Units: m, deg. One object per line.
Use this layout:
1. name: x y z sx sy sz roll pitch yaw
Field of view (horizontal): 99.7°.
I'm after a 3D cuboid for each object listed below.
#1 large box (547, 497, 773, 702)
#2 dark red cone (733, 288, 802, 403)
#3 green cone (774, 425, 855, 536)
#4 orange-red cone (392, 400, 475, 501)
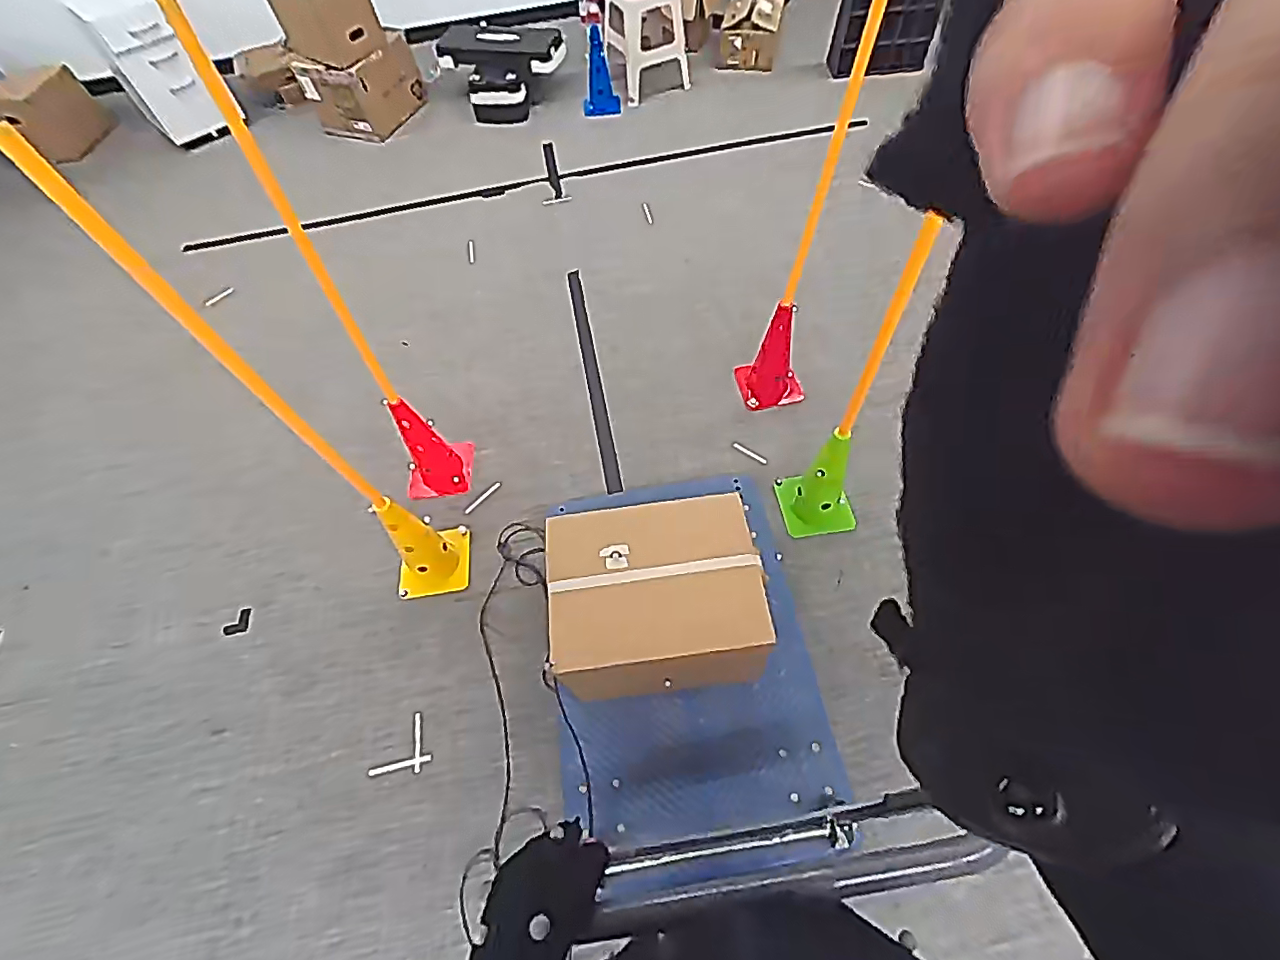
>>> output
1. large box: 0.036 0.269 1.165 0.408 0.320 0.320 -9 58 0
2. dark red cone: 0.429 -0.434 1.716 0.201 0.394 0.202 -11 58 -4
3. green cone: 0.509 -0.021 1.474 0.202 0.368 0.200 -8 58 -2
4. orange-red cone: -0.655 -0.112 1.631 0.198 0.360 0.199 -5 57 0
